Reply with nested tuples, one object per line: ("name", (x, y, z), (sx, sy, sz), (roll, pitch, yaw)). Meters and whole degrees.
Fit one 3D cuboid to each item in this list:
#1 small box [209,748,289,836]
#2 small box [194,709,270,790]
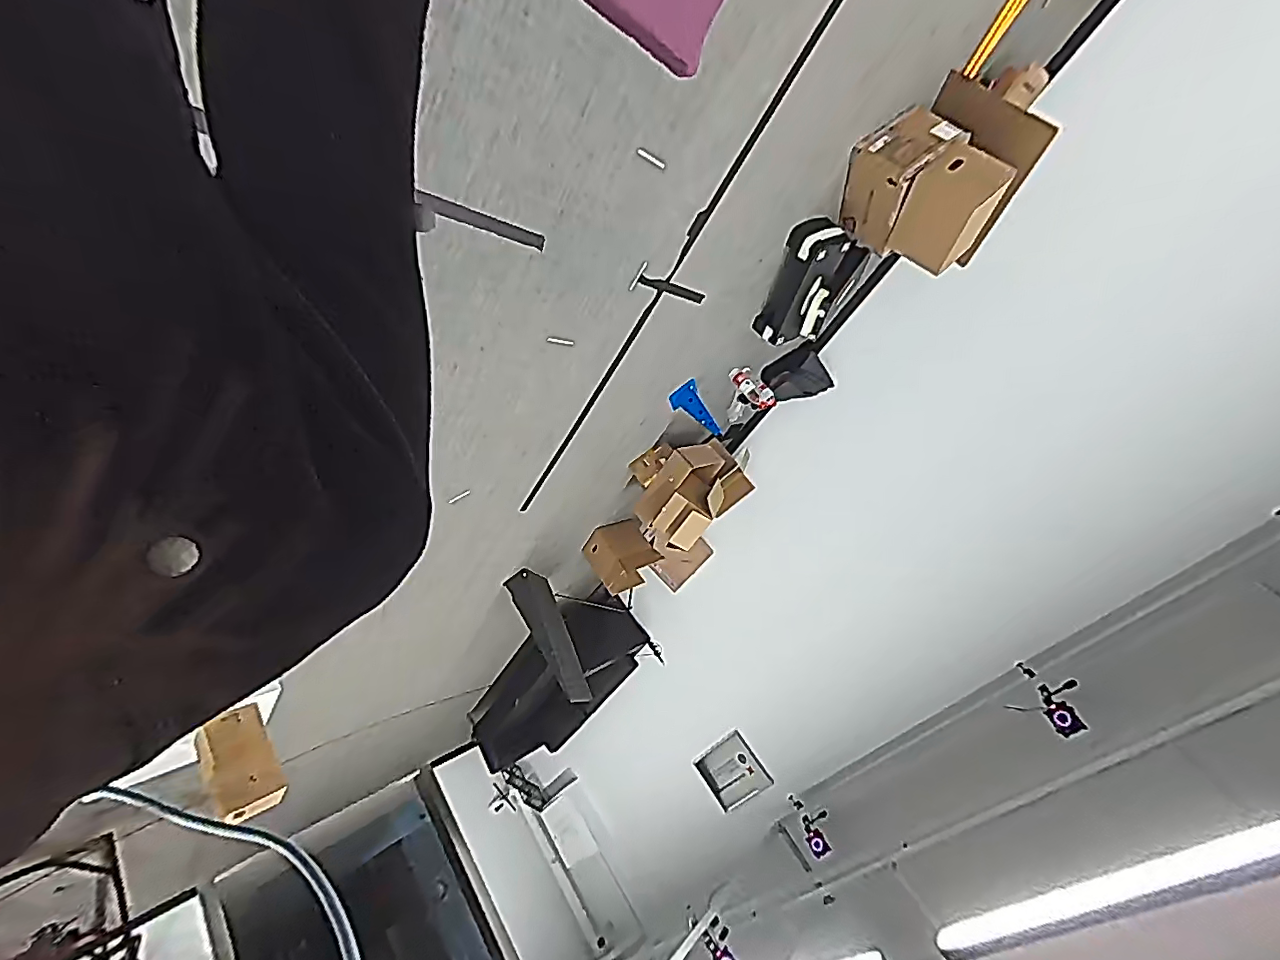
("small box", (-1.340, 1.060, 1.846), (0.179, 0.176, 0.168), (-12, 147, -51))
("small box", (-1.439, 0.942, 1.903), (0.168, 0.176, 0.179), (-6, 142, -53))
